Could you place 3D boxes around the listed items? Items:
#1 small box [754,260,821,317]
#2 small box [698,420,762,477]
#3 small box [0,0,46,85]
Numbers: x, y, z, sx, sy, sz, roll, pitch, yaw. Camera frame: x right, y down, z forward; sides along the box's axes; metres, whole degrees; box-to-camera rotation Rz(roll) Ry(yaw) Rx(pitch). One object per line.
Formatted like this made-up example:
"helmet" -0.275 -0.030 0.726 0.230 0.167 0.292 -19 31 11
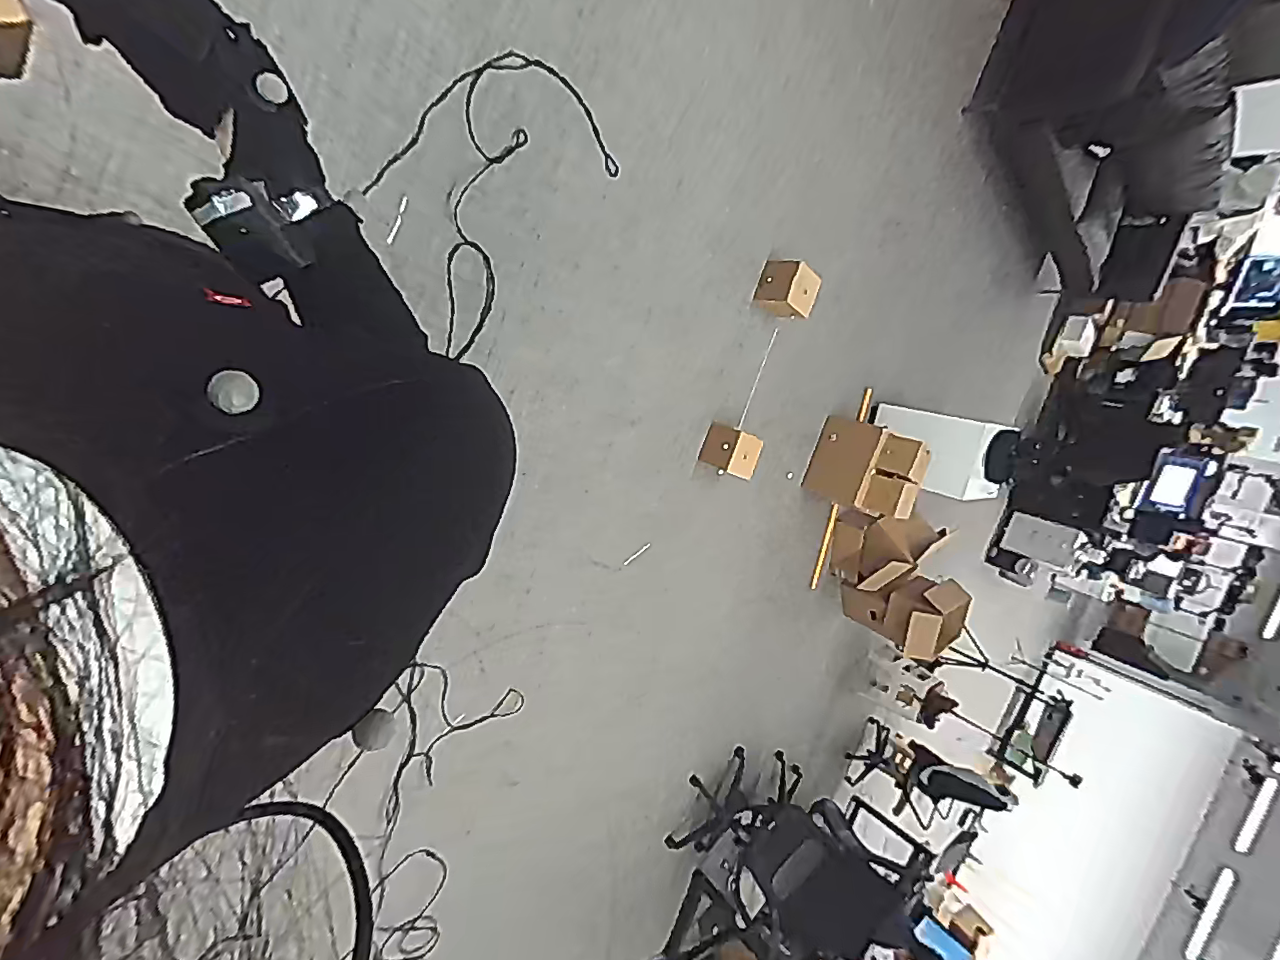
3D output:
"small box" 0.593 -0.776 2.182 0.179 0.176 0.168 16 96 -44
"small box" 0.368 -0.132 2.246 0.168 0.176 0.179 16 96 -44
"small box" -0.441 -0.289 0.246 0.179 0.176 0.168 -32 129 -37
